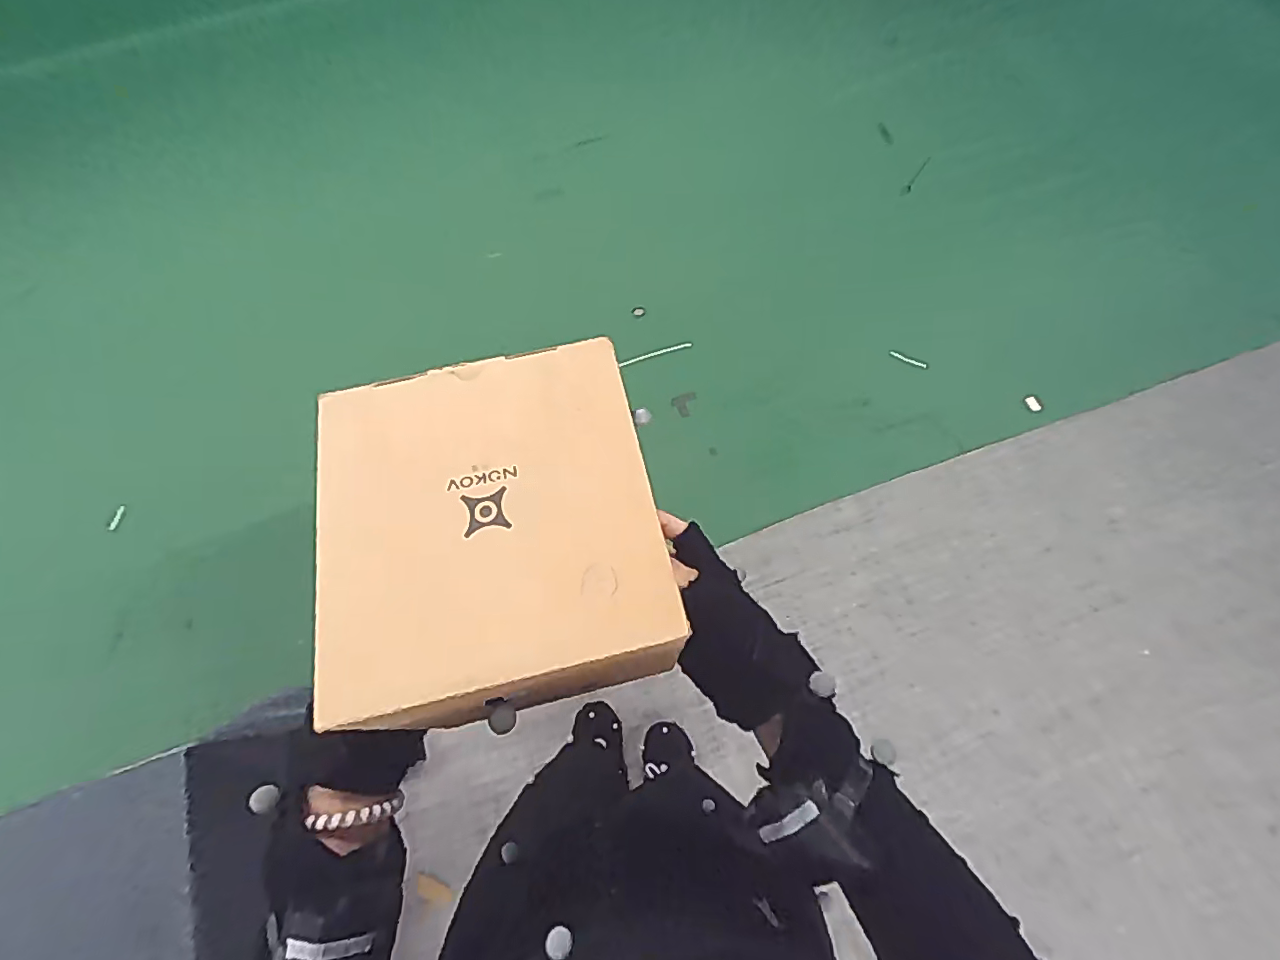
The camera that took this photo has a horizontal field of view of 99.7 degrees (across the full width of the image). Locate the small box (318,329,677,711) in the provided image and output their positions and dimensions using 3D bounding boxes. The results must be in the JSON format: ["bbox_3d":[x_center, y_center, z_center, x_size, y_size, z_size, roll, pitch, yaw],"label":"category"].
[{"bbox_3d":[-0.076,0.038,0.347,0.168,0.176,0.179,-13,65,-5],"label":"small box"}]
